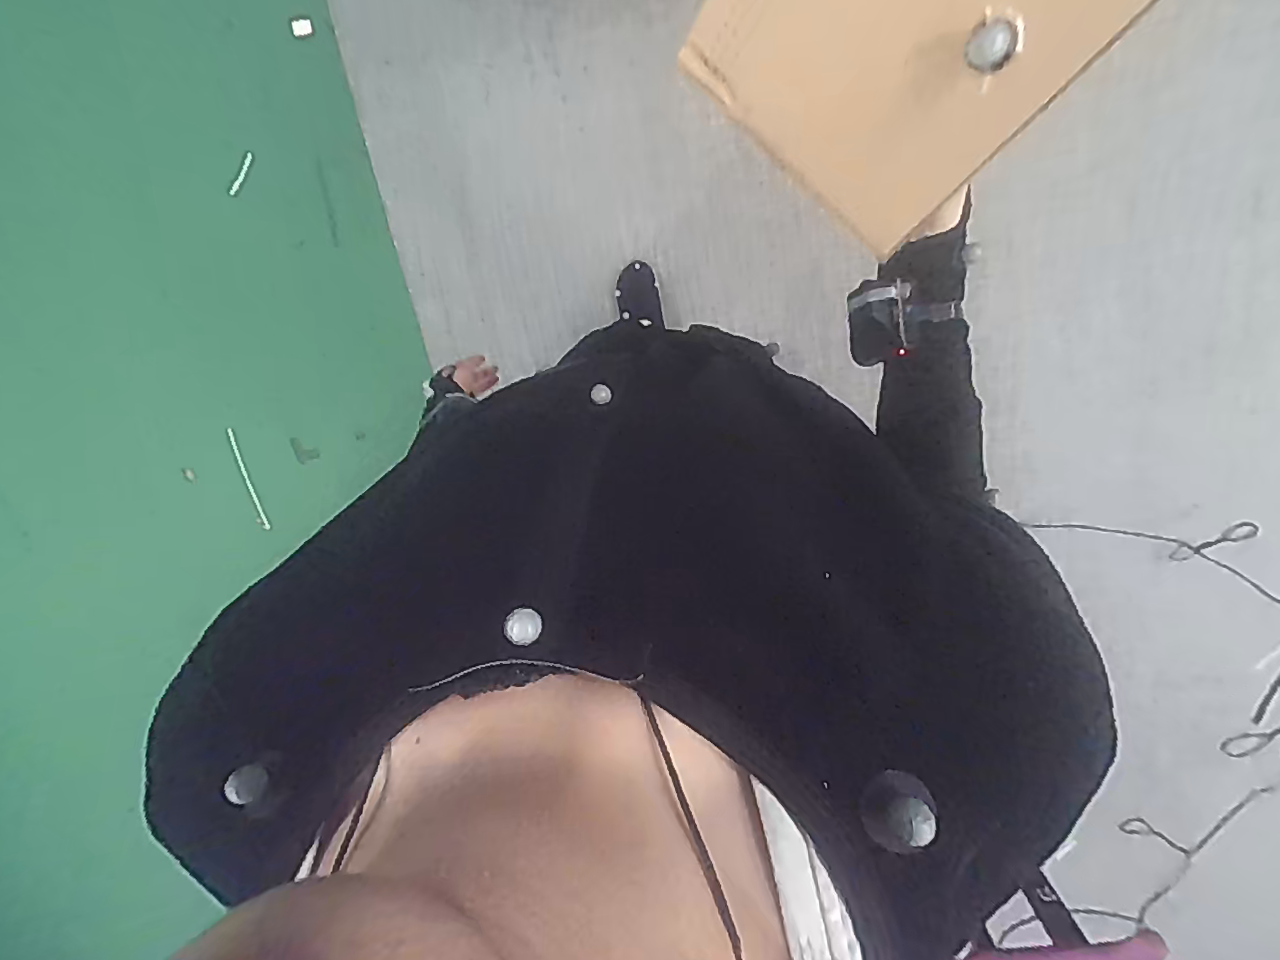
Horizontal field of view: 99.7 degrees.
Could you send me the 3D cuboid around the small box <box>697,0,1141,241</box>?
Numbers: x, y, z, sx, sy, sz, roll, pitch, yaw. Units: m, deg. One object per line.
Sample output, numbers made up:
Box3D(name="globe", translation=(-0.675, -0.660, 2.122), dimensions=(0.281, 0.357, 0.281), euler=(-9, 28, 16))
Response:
Box3D(name="small box", translation=(0.151, -0.275, 0.293), dimensions=(0.176, 0.168, 0.179), euler=(40, 137, -5))
